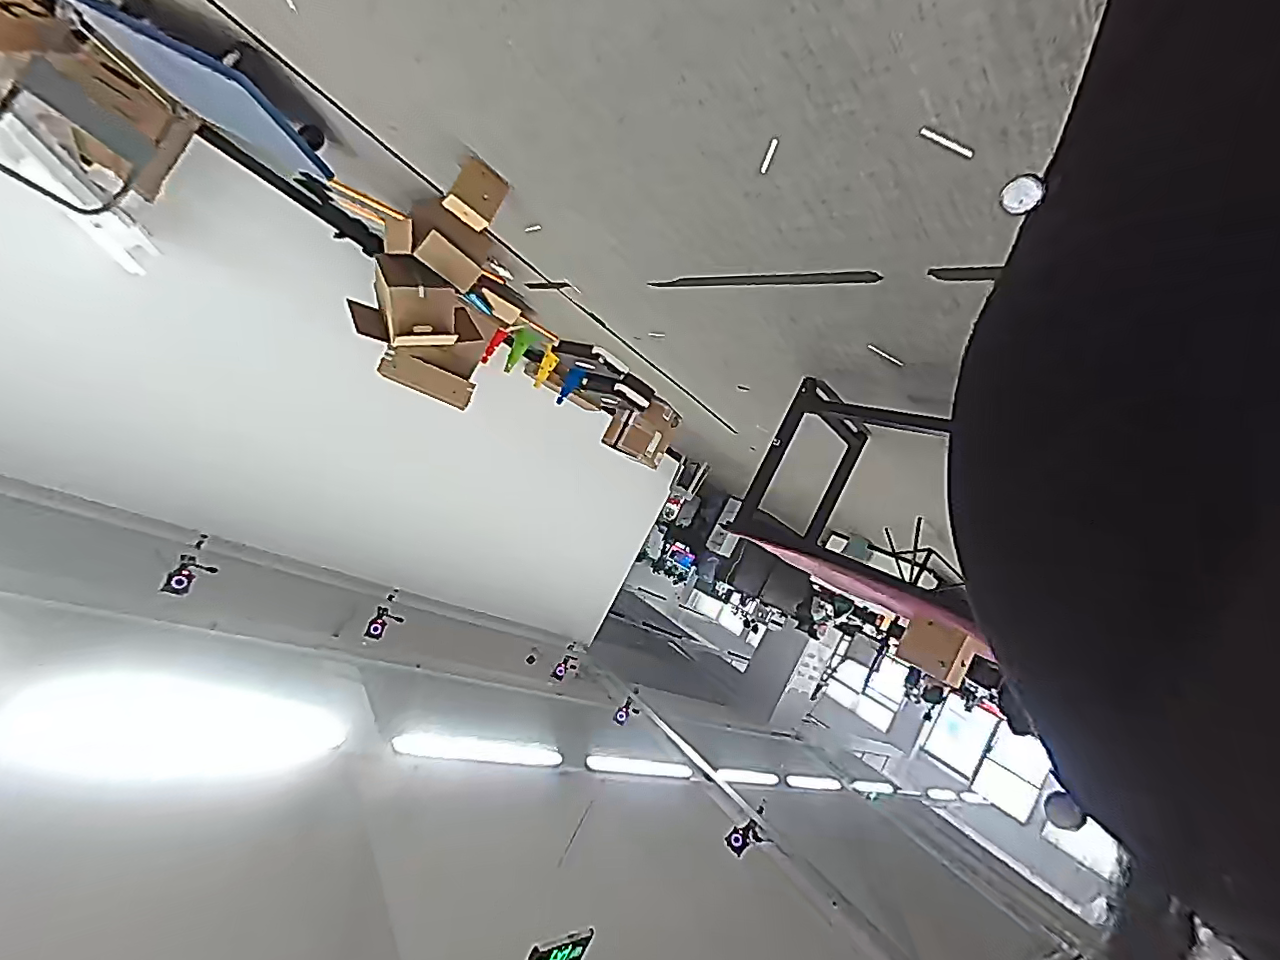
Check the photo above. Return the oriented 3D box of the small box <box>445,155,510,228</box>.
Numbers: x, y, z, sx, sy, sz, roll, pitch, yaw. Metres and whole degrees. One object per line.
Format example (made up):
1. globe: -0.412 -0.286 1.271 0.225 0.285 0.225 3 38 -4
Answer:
1. small box: -0.629 -1.121 2.103 0.168 0.176 0.179 30 176 -32
